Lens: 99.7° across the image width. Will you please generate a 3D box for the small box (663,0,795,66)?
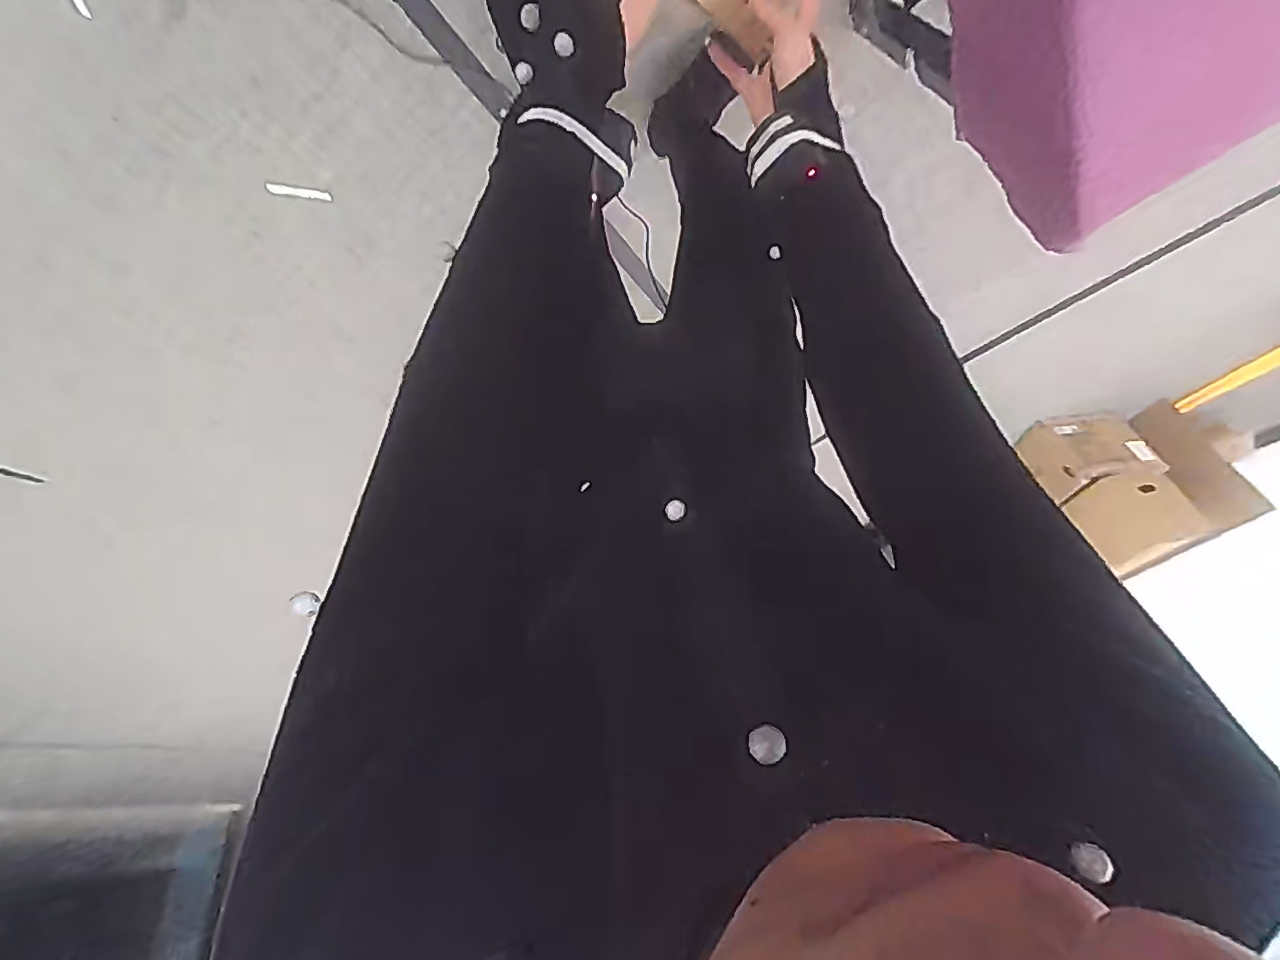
[{"bbox_3d":[0.053,-0.506,0.450,0.179,0.176,0.168,2,138,-41],"label":"small box"}]
